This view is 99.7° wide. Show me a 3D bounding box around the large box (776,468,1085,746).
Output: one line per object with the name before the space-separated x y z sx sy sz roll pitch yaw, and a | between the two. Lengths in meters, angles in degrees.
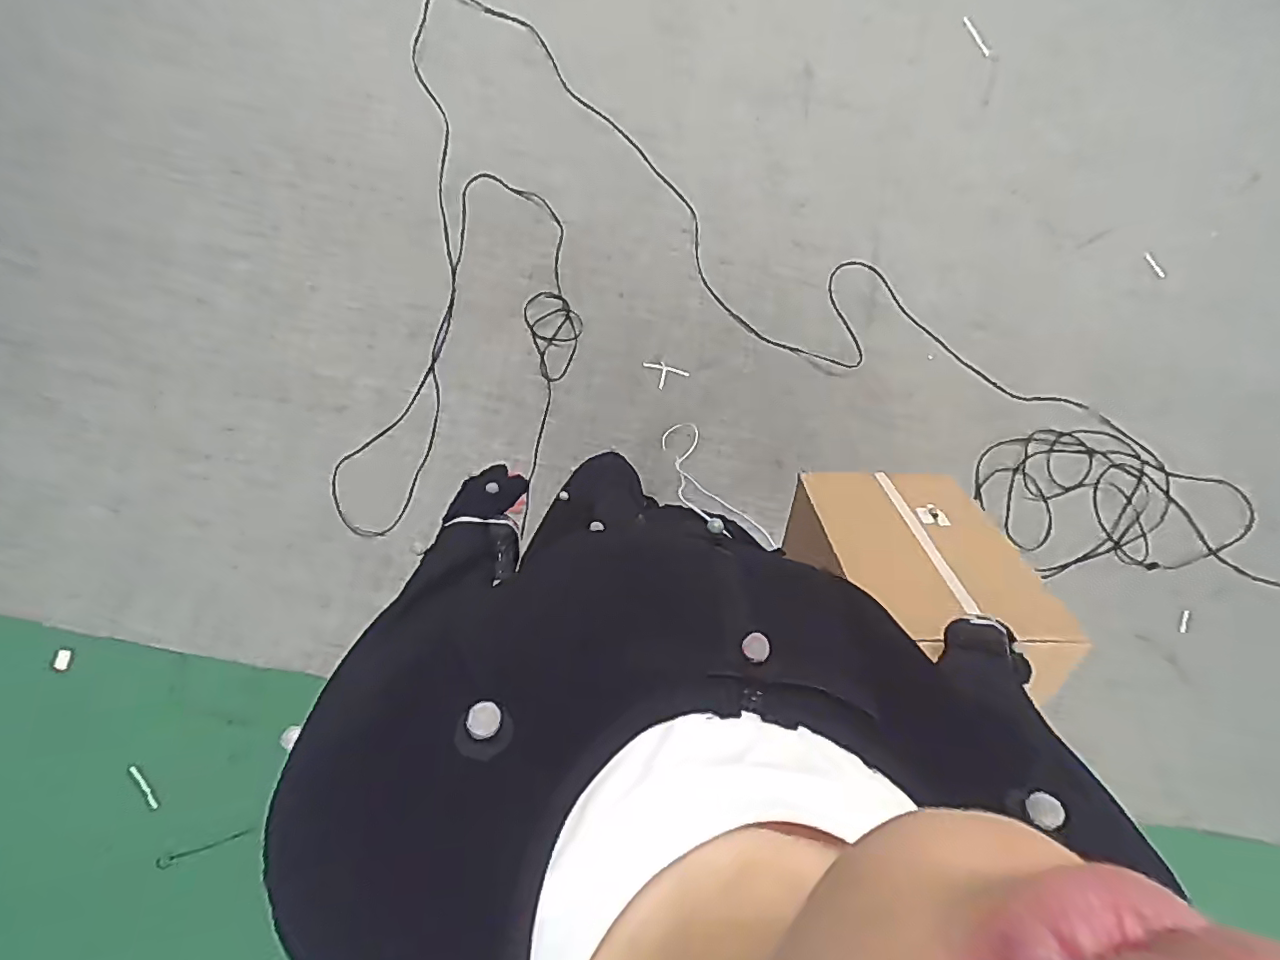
large box | 0.467 0.218 0.998 0.320 0.408 0.320 1 125 -3
